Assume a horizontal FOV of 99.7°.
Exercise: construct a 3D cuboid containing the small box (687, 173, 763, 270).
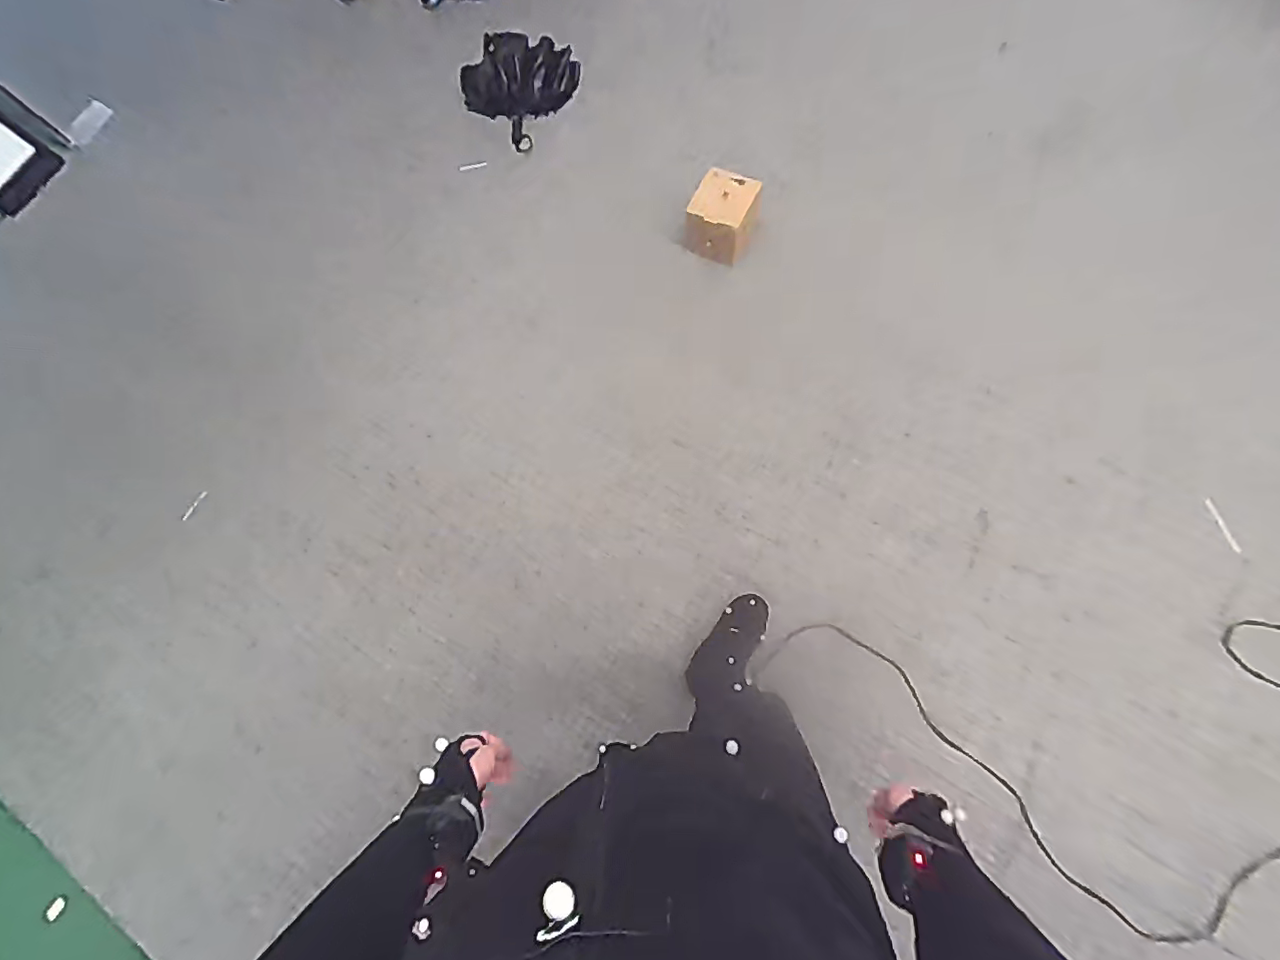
[{"bbox_3d":[0.255,-0.771,1.629,0.168,0.176,0.179,26,78,13],"label":"small box"}]
